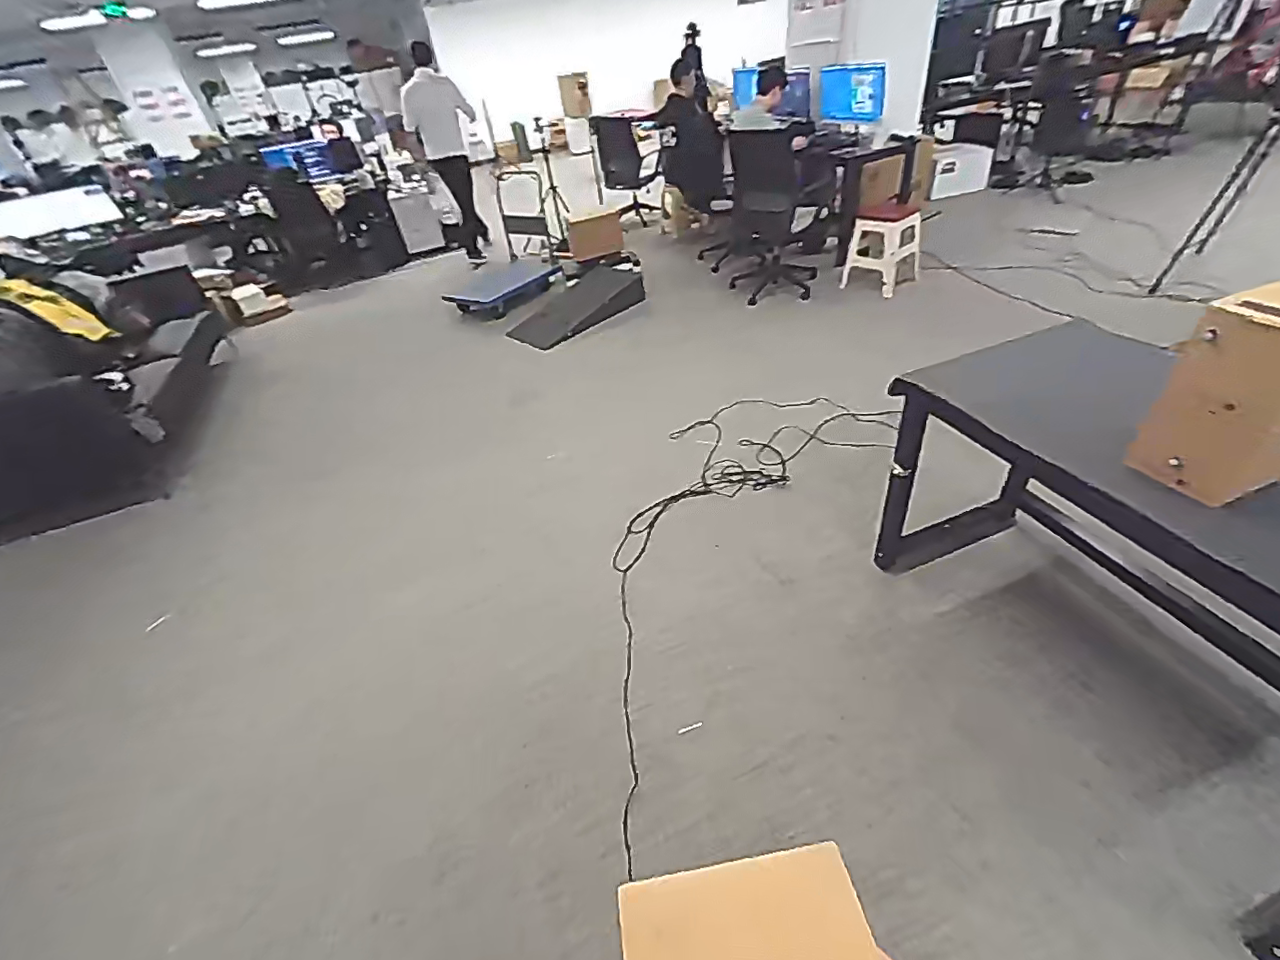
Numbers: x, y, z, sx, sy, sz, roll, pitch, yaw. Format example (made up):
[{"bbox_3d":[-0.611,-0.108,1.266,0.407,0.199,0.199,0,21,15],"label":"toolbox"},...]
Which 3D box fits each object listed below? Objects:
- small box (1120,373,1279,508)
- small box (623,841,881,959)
[{"bbox_3d":[1.075,-0.075,1.023,0.179,0.176,0.168,-18,39,-12],"label":"small box"},{"bbox_3d":[0.083,0.394,0.374,0.168,0.176,0.179,-9,35,-4],"label":"small box"}]
